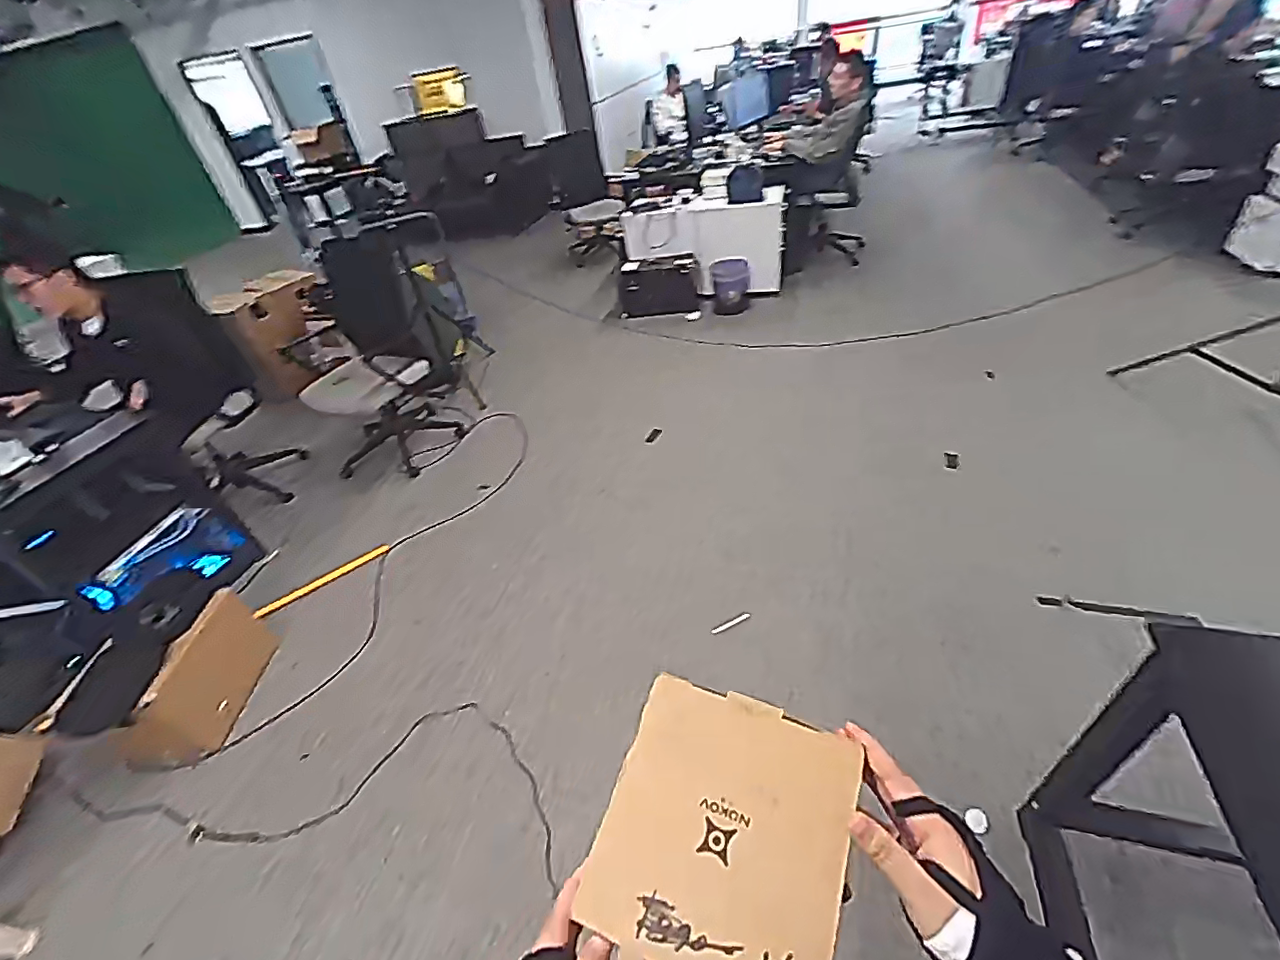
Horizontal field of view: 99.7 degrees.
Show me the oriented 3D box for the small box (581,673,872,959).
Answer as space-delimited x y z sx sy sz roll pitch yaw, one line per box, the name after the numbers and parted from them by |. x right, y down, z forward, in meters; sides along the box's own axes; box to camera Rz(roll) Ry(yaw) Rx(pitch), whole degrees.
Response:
0.078 0.293 0.442 0.168 0.176 0.179 12 56 23 | small box
